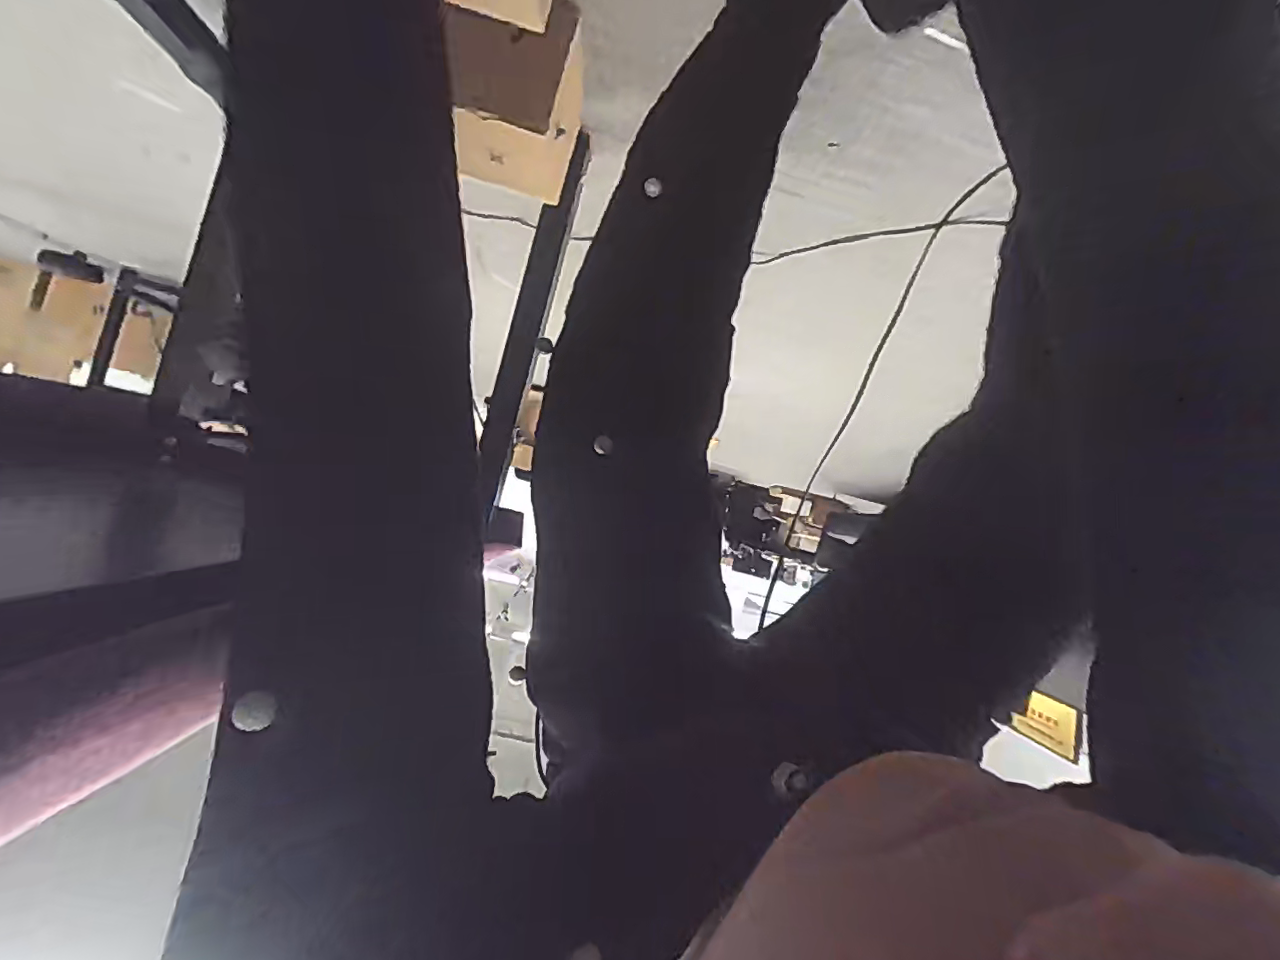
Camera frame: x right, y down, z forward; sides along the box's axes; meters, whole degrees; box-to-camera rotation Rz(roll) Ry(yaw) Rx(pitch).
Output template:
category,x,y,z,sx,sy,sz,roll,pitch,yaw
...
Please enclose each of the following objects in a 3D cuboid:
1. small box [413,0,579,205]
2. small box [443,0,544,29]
category,x,y,z,sx,sy,sz,roll,pitch,yaw
small box,-0.186,-0.530,0.756,0.168,0.176,0.179,15,177,-3
small box,-0.151,-0.535,0.432,0.168,0.176,0.179,16,178,-4
